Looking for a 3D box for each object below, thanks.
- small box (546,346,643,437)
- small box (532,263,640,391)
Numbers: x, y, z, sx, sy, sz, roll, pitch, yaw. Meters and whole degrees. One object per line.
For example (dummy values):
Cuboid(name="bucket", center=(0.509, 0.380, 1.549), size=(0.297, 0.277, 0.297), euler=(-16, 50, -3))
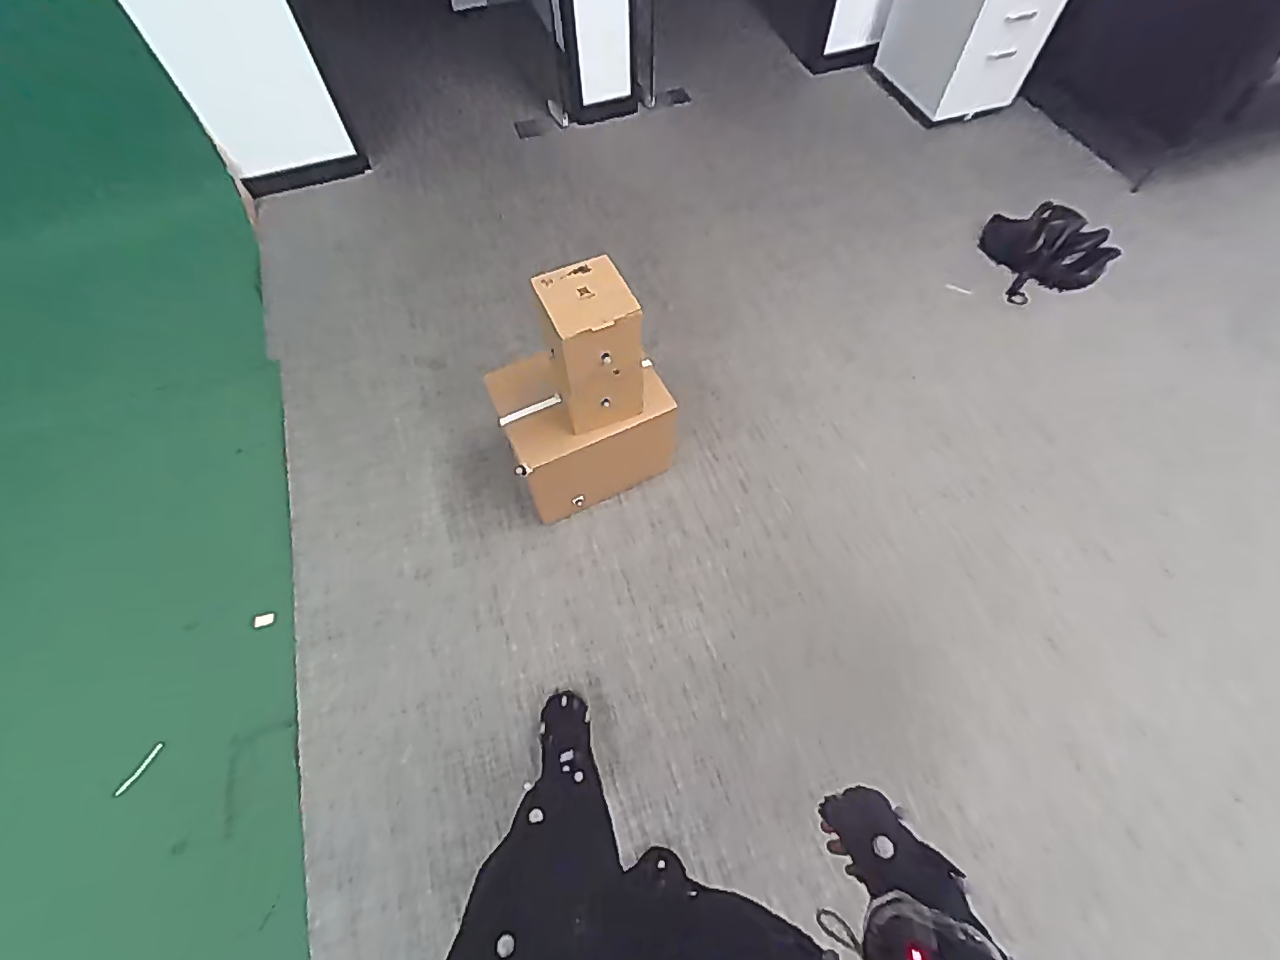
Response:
Cuboid(name="small box", center=(-0.103, -0.230, 1.264), size=(0.179, 0.176, 0.168), euler=(-20, 63, -9))
Cuboid(name="small box", center=(-0.106, -0.307, 1.120), size=(0.168, 0.176, 0.179), euler=(-22, 64, -11))
